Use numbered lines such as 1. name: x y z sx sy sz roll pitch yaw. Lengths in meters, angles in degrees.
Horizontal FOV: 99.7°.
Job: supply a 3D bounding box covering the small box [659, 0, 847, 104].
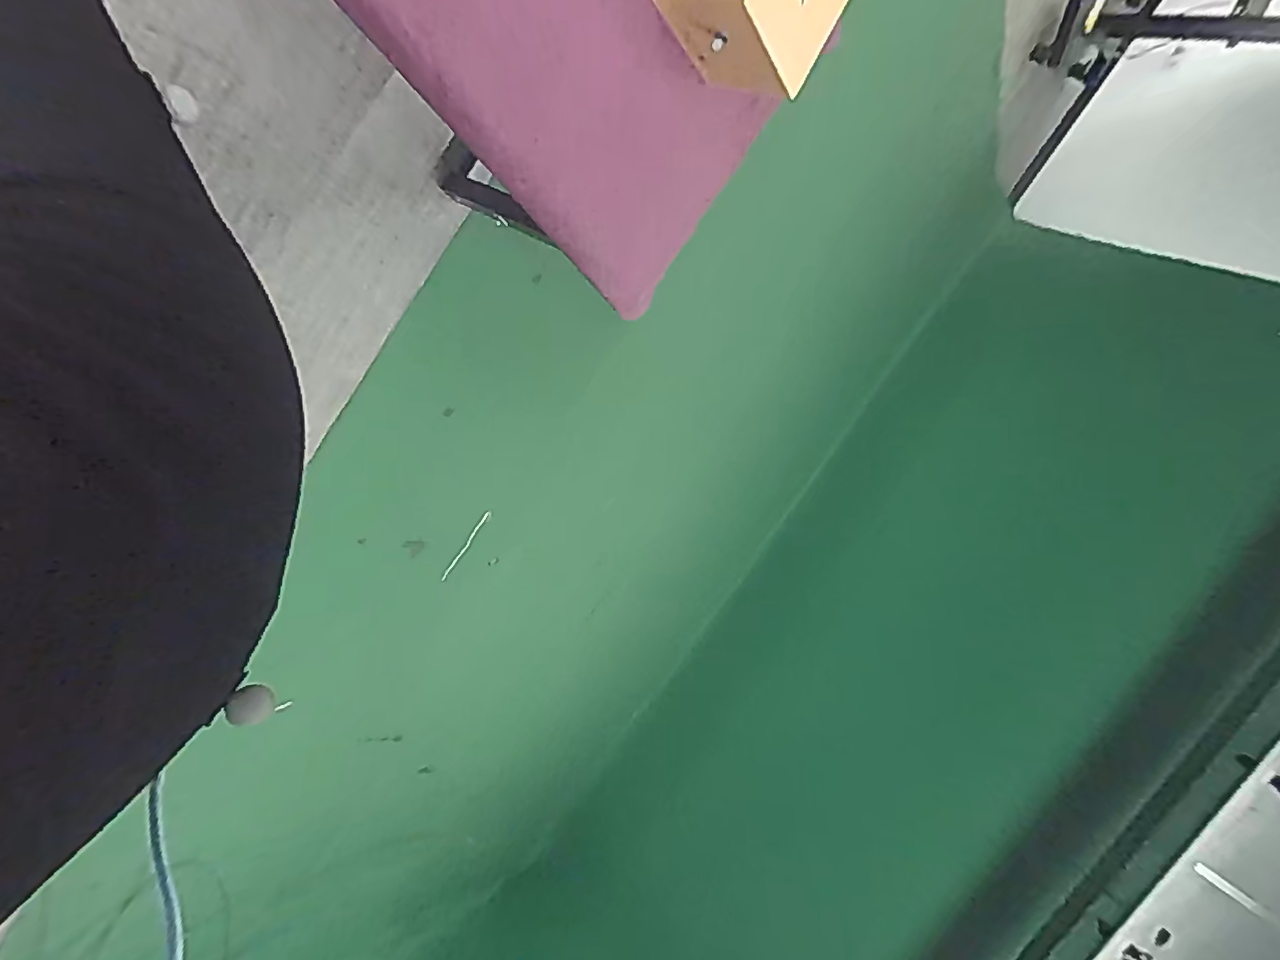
1. small box: 0.148 -0.650 0.723 0.168 0.176 0.179 15 108 -53
